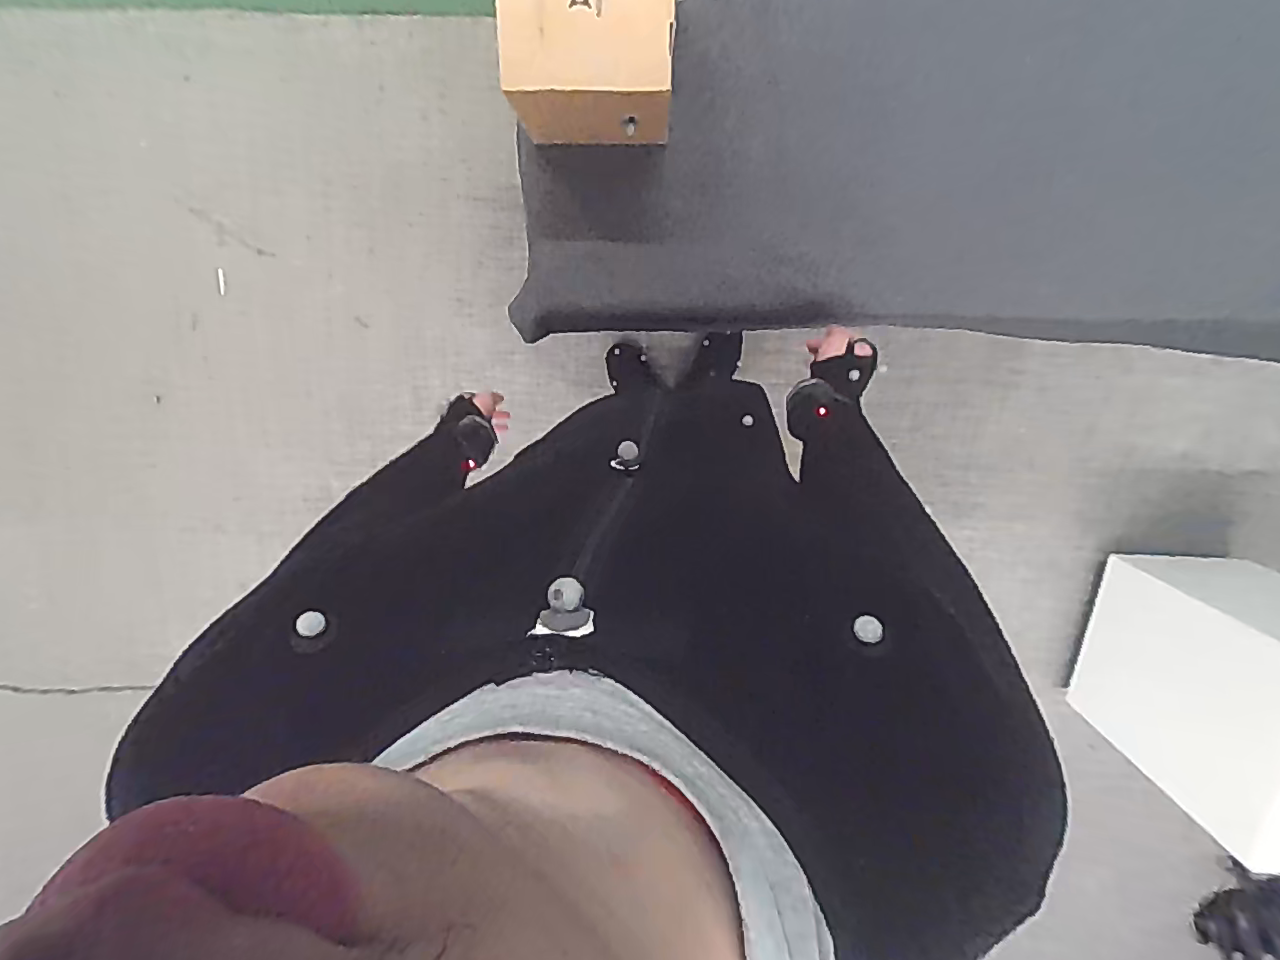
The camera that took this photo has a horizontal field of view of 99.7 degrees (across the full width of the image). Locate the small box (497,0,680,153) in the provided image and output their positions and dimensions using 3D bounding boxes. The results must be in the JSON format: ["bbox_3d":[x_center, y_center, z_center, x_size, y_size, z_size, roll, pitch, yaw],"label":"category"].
[{"bbox_3d":[-0.051,-0.476,0.589,0.179,0.176,0.168,-1,104,0],"label":"small box"}]
